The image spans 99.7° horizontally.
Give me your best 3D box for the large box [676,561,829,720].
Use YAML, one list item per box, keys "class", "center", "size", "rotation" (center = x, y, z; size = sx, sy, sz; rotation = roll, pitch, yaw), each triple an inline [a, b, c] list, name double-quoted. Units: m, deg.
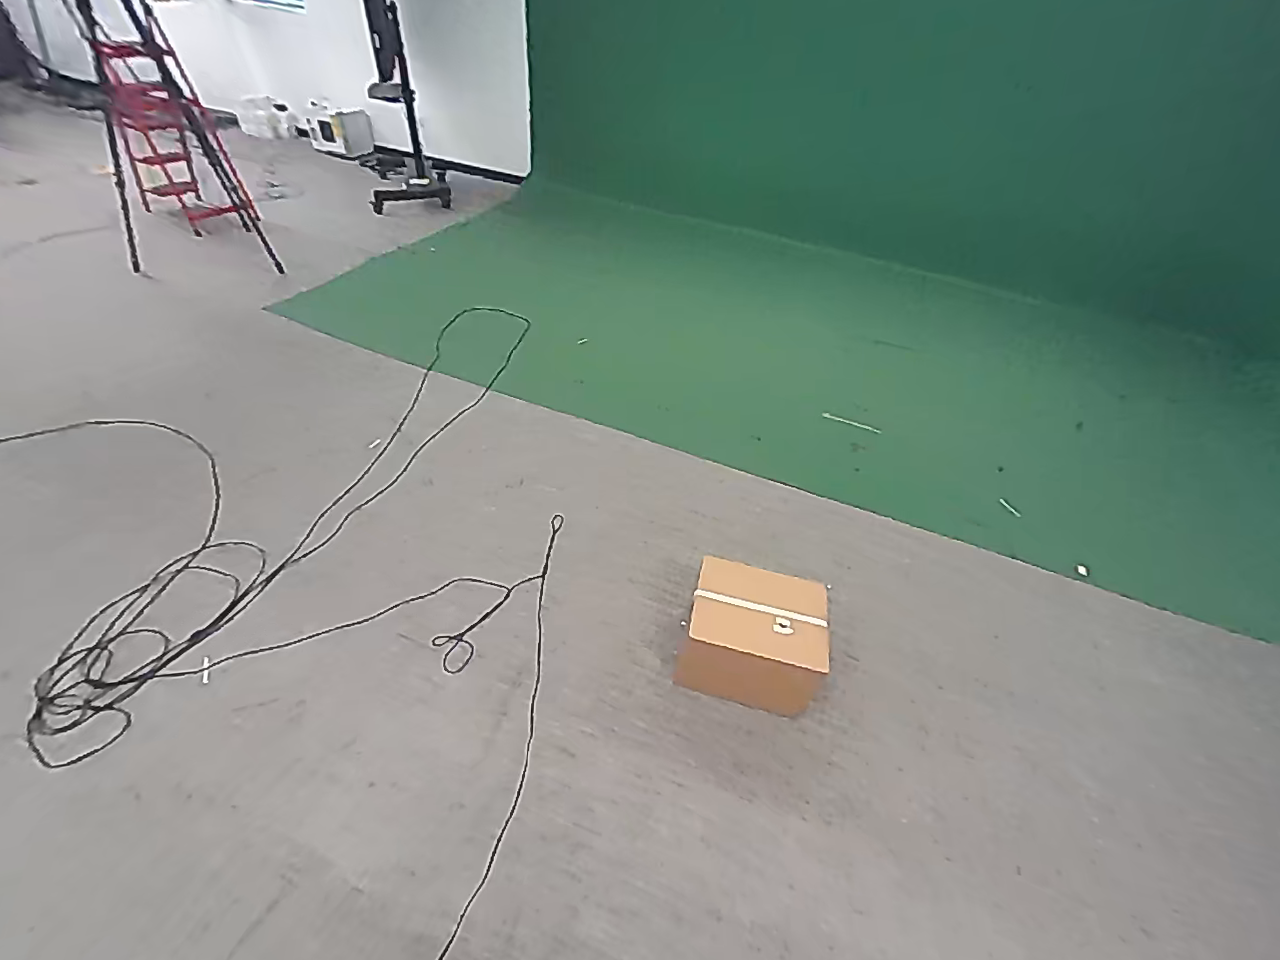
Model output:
- class: "large box"
  center: [0.350, 0.511, 1.731]
  size: [0.408, 0.320, 0.320]
  rotation: [13, 43, 6]
